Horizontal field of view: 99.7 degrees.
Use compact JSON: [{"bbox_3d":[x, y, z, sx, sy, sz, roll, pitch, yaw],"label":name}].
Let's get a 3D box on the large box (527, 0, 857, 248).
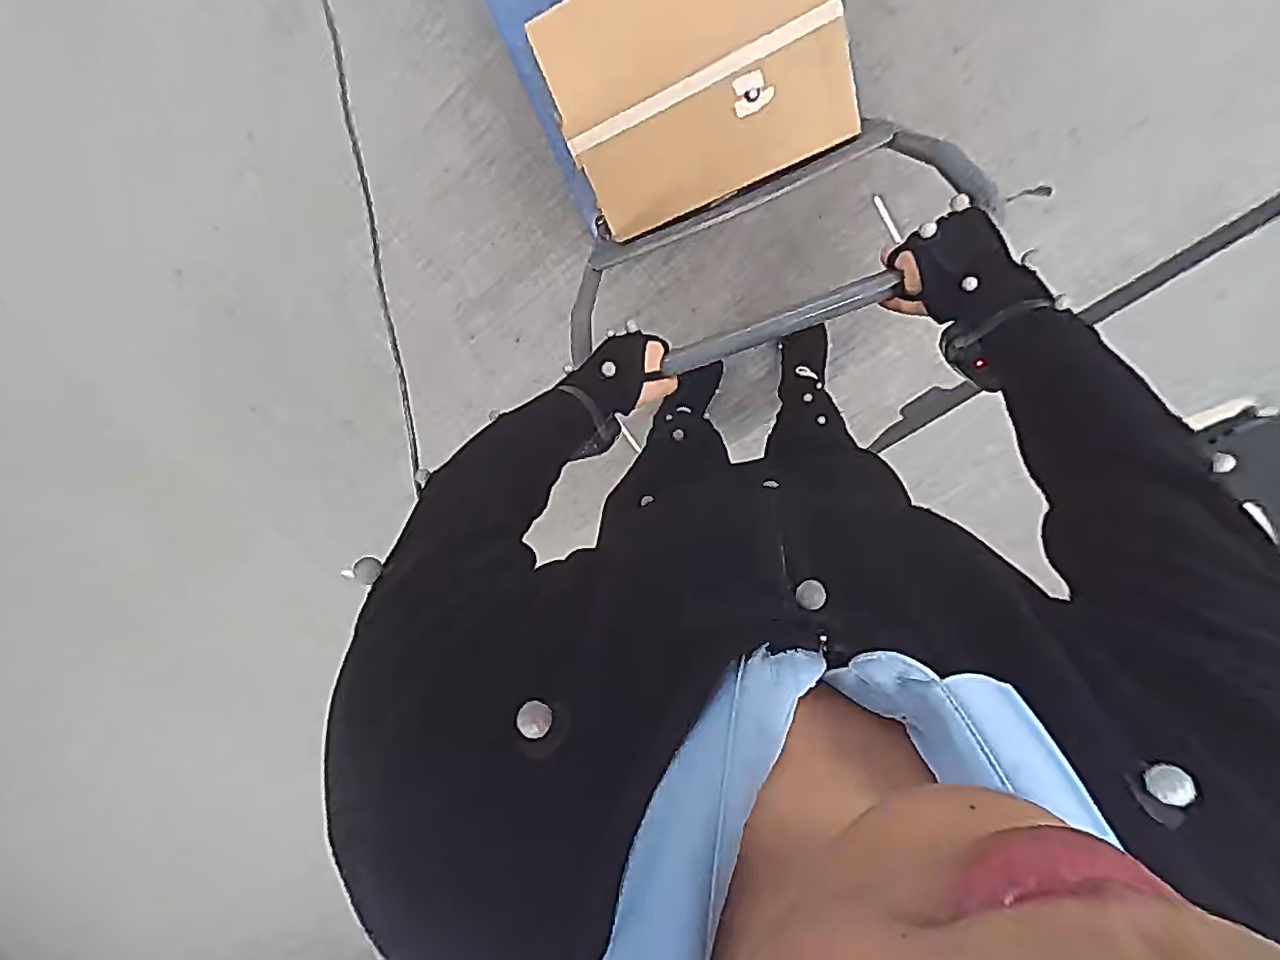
[{"bbox_3d":[0.086,-0.646,0.897,0.408,0.320,0.320,-19,122,15],"label":"large box"}]
